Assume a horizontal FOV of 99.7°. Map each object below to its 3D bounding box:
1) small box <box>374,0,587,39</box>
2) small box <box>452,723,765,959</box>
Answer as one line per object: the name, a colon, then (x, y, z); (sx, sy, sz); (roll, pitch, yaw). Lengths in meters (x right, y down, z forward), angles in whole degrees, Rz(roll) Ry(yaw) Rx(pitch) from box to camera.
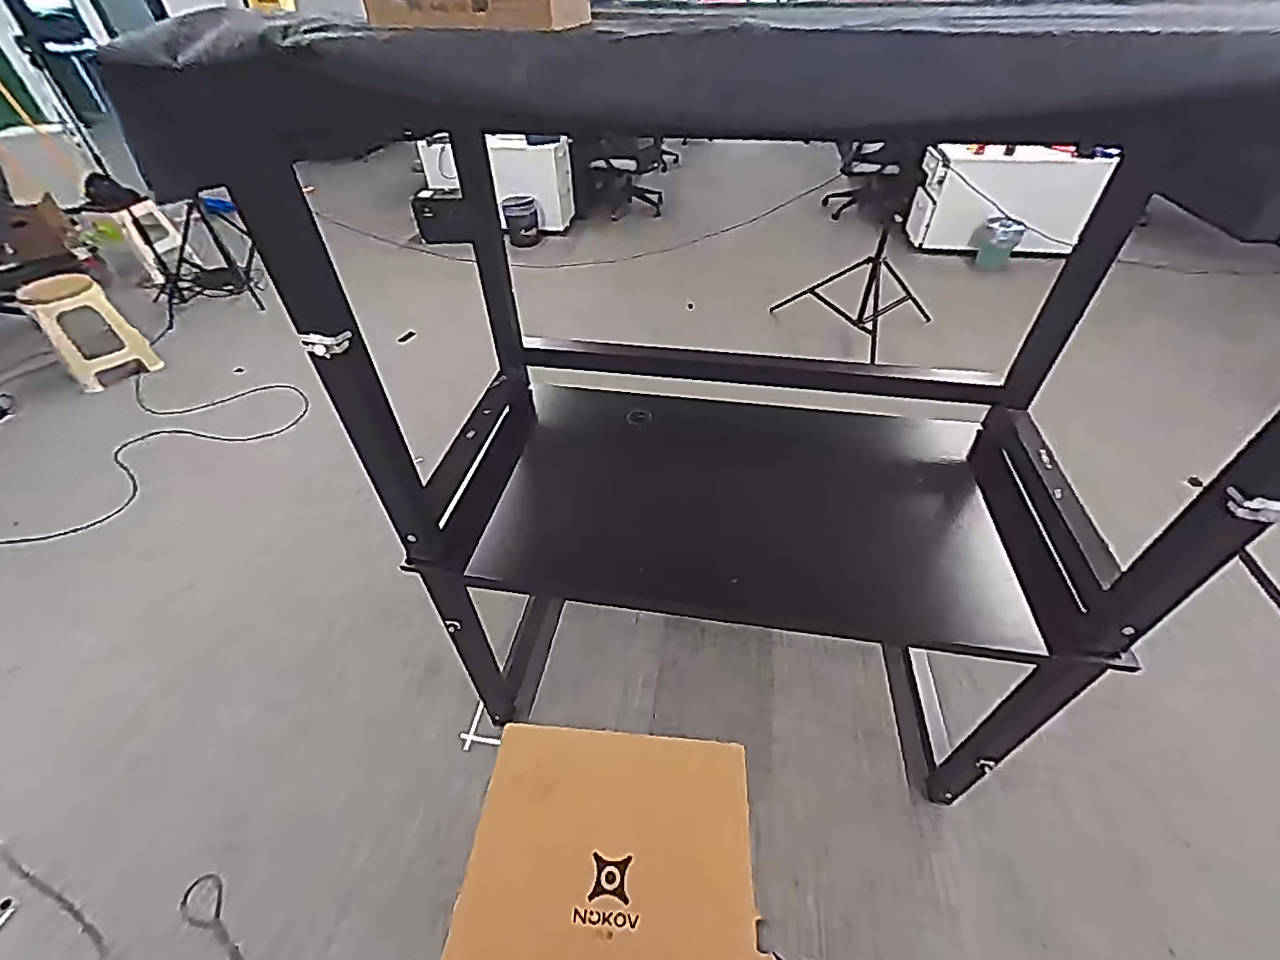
small box: (-0.143, -0.499, 0.476); (0.168, 0.176, 0.179); (5, 41, 5)
small box: (-0.016, 0.290, 0.357); (0.168, 0.176, 0.179); (4, 42, 2)
